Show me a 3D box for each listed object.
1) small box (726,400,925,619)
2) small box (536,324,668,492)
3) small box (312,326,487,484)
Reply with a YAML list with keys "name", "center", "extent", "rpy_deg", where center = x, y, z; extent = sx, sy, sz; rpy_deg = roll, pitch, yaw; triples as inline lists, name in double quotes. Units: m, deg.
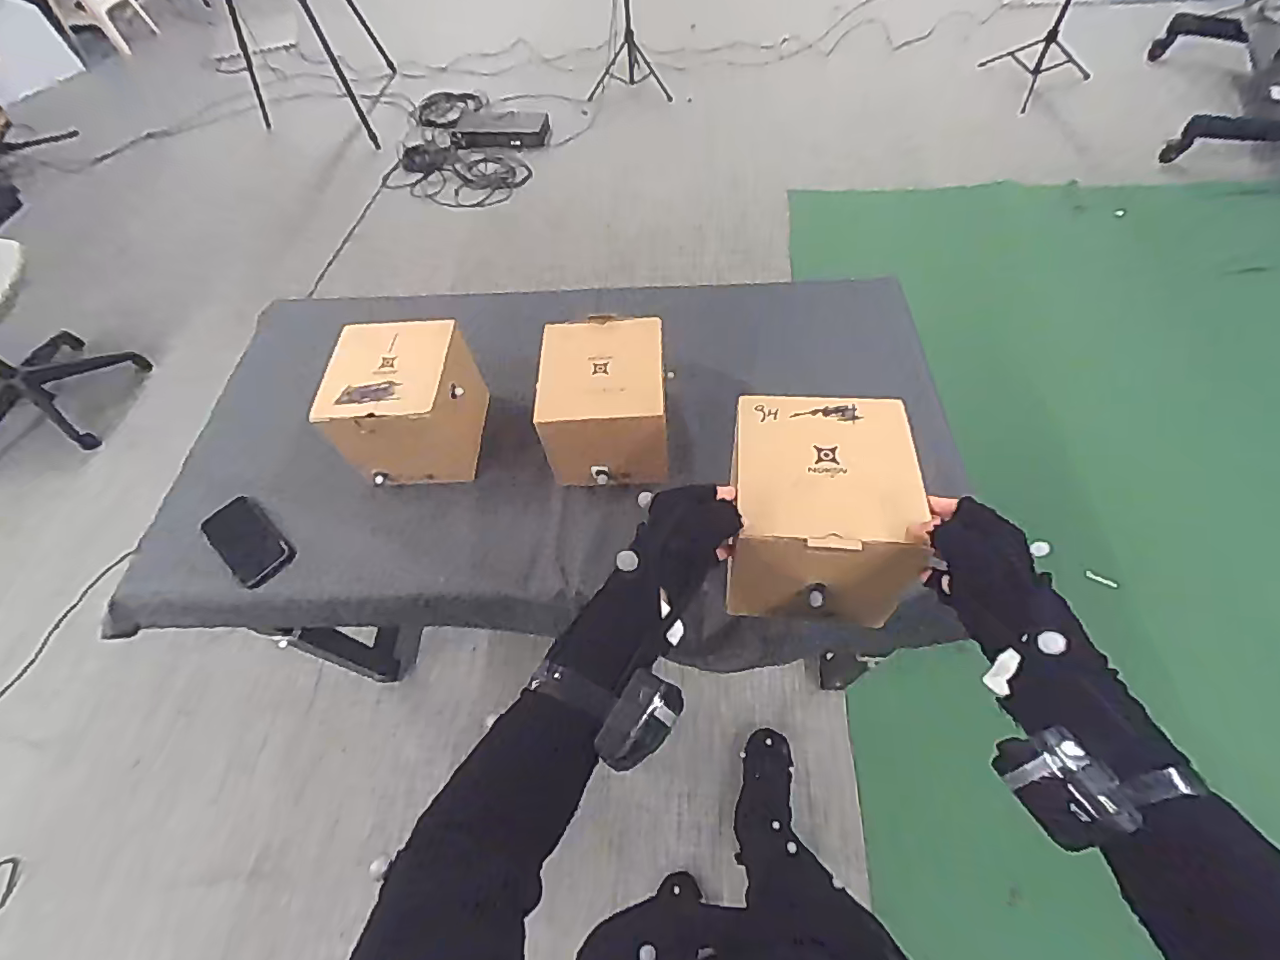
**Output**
- name: "small box"
  center: [0.180, 0.035, 0.580]
  extent: [0.168, 0.176, 0.179]
  rpy_deg: [2, 54, 8]
- name: "small box"
  center: [-0.045, -0.101, 0.787]
  extent: [0.168, 0.176, 0.179]
  rpy_deg: [-4, 59, 4]
- name: "small box"
  center: [-0.341, -0.104, 0.806]
  extent: [0.168, 0.176, 0.179]
  rpy_deg: [-2, 57, 3]
